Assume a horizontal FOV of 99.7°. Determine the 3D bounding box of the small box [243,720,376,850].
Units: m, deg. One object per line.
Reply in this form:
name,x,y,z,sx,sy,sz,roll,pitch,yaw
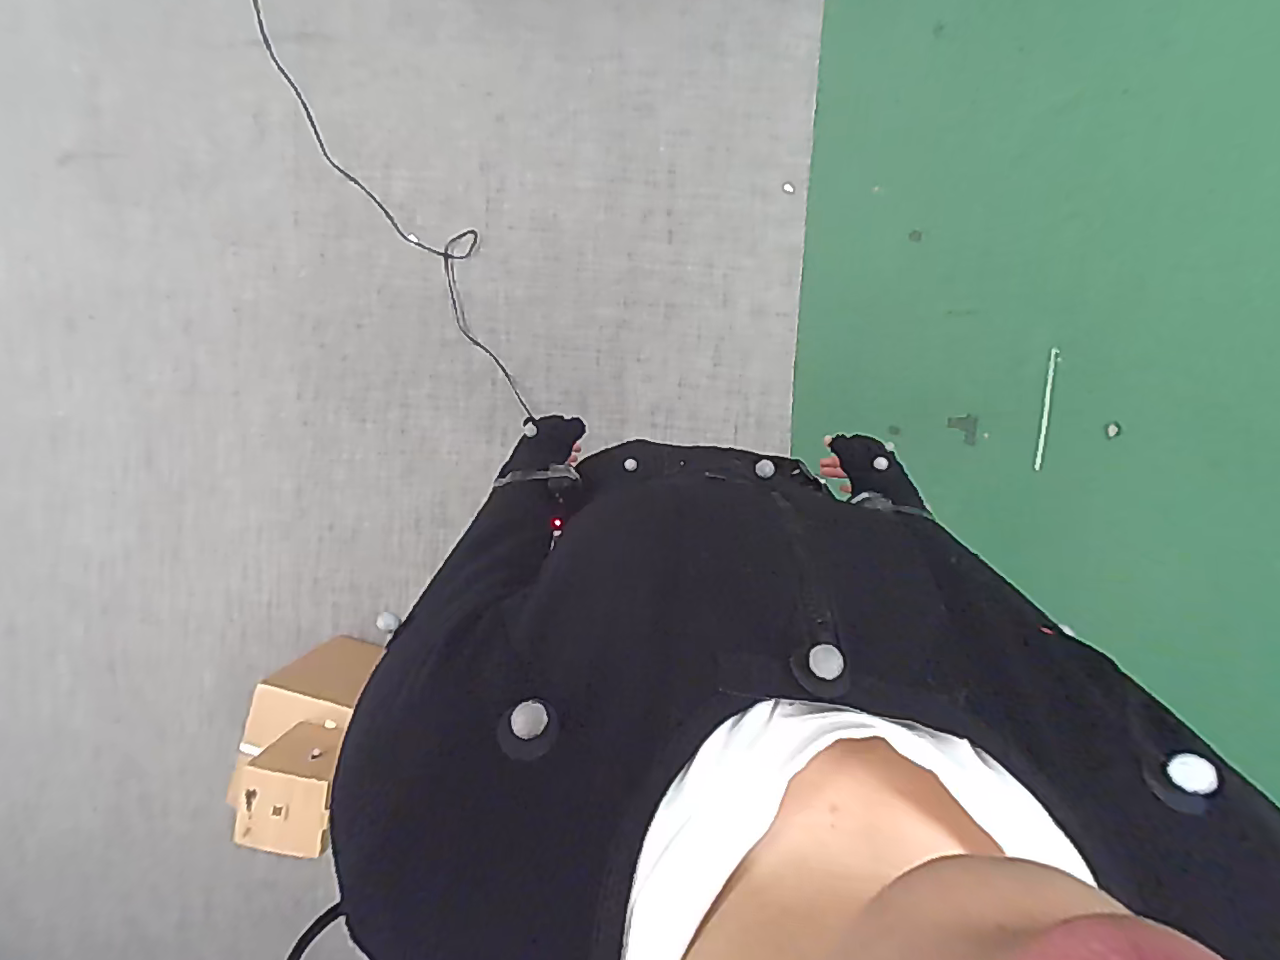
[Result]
small box,-0.690,0.637,1.150,0.179,0.176,0.168,10,94,0
